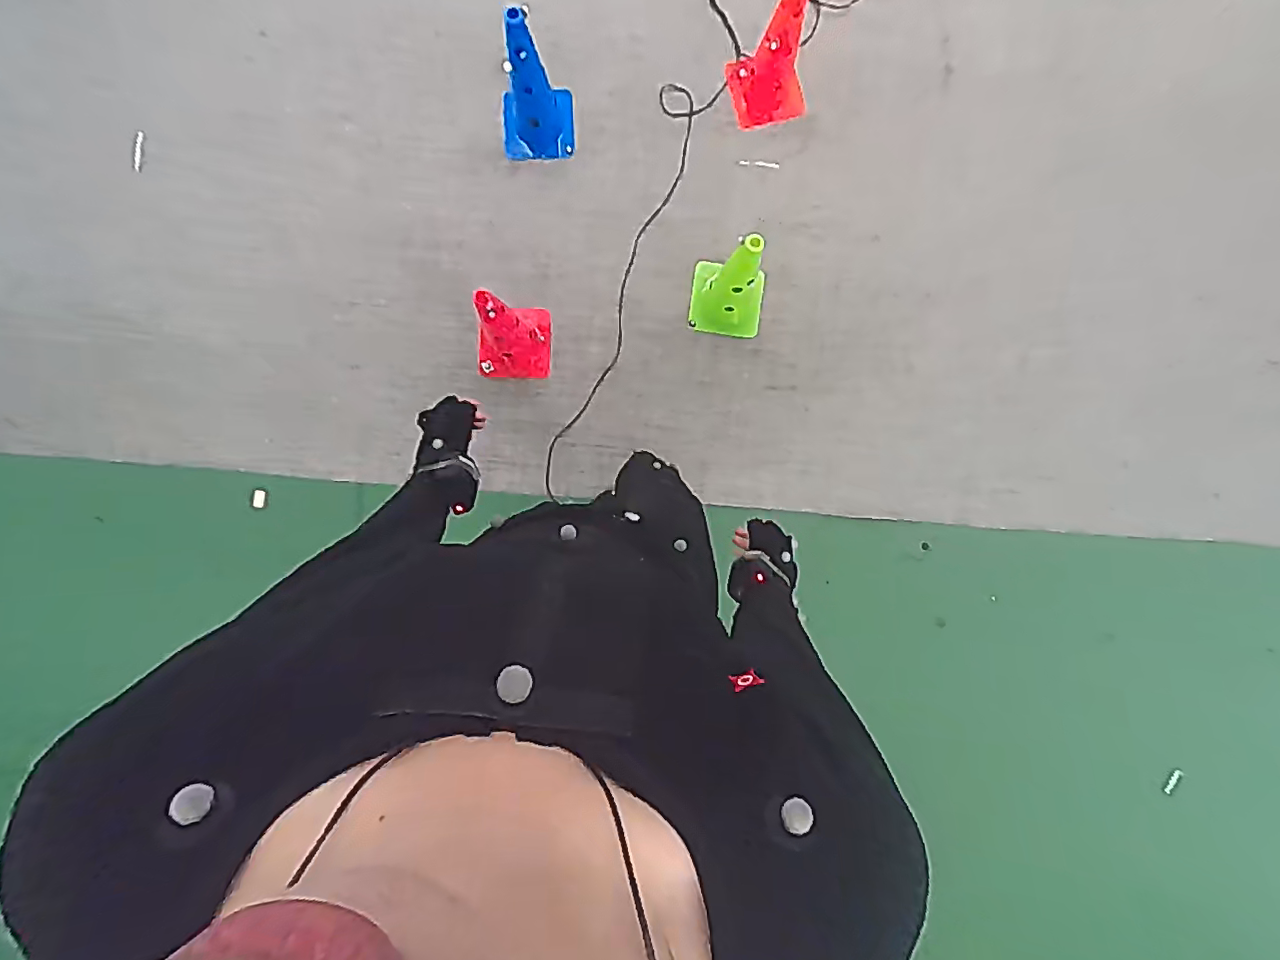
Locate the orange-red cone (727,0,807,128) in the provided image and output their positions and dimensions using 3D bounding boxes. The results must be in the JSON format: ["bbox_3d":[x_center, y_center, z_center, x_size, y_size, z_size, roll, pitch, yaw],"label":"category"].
[{"bbox_3d":[0.363,-1.125,1.385,0.198,0.360,0.199,-14,90,0],"label":"orange-red cone"}]

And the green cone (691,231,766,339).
[{"bbox_3d":[0.255,-0.514,1.362,0.200,0.368,0.202,7,87,-1],"label":"green cone"}]
